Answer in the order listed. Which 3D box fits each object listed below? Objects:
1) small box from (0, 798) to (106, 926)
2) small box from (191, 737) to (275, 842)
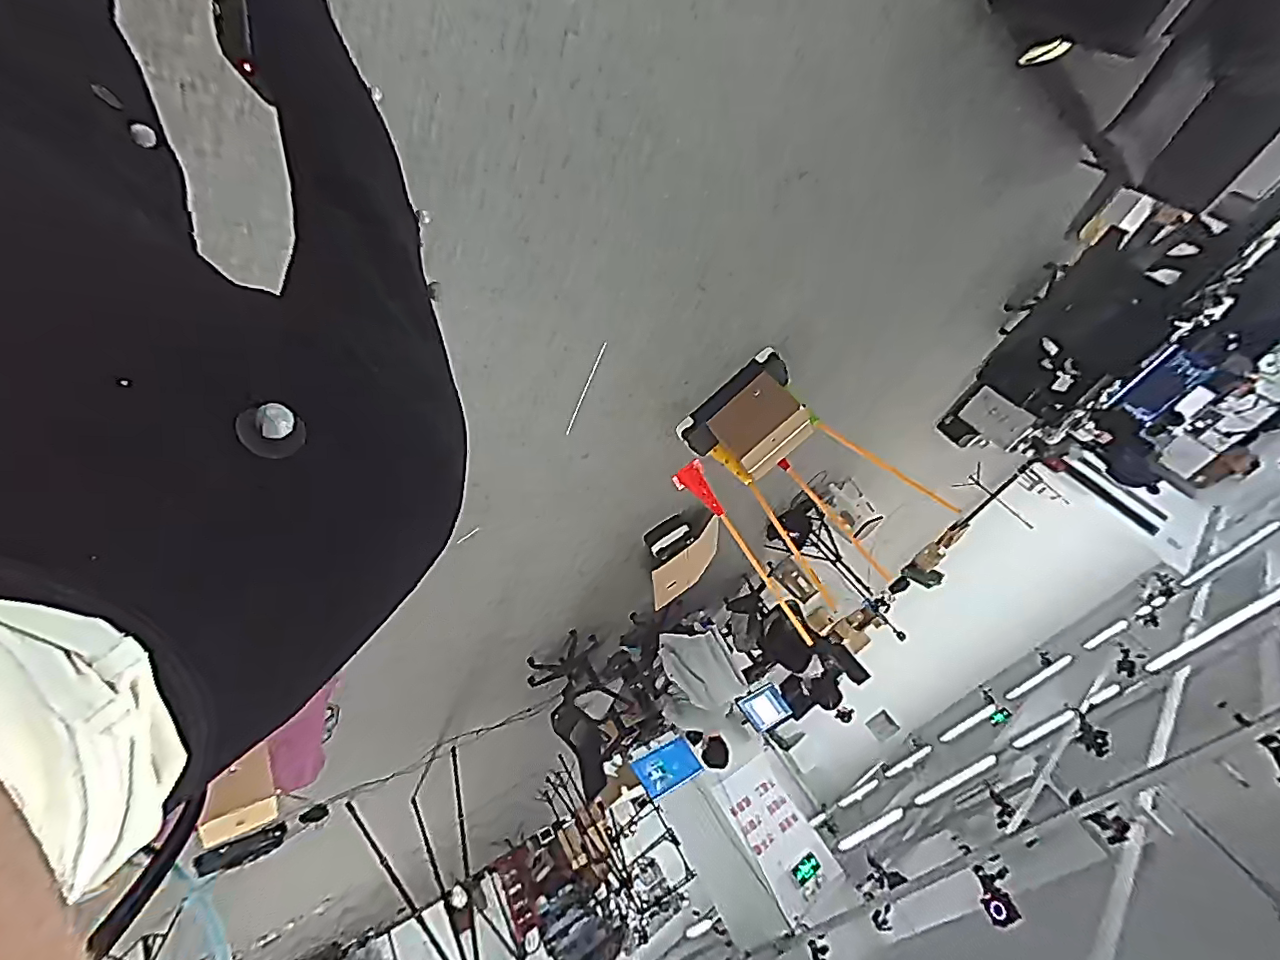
[{"bbox_3d":[-1.378,0.880,1.261,0.168,0.176,0.179,-8,140,-40],"label":"small box"},{"bbox_3d":[-1.113,0.841,1.483,0.168,0.176,0.179,-9,140,-39],"label":"small box"}]
